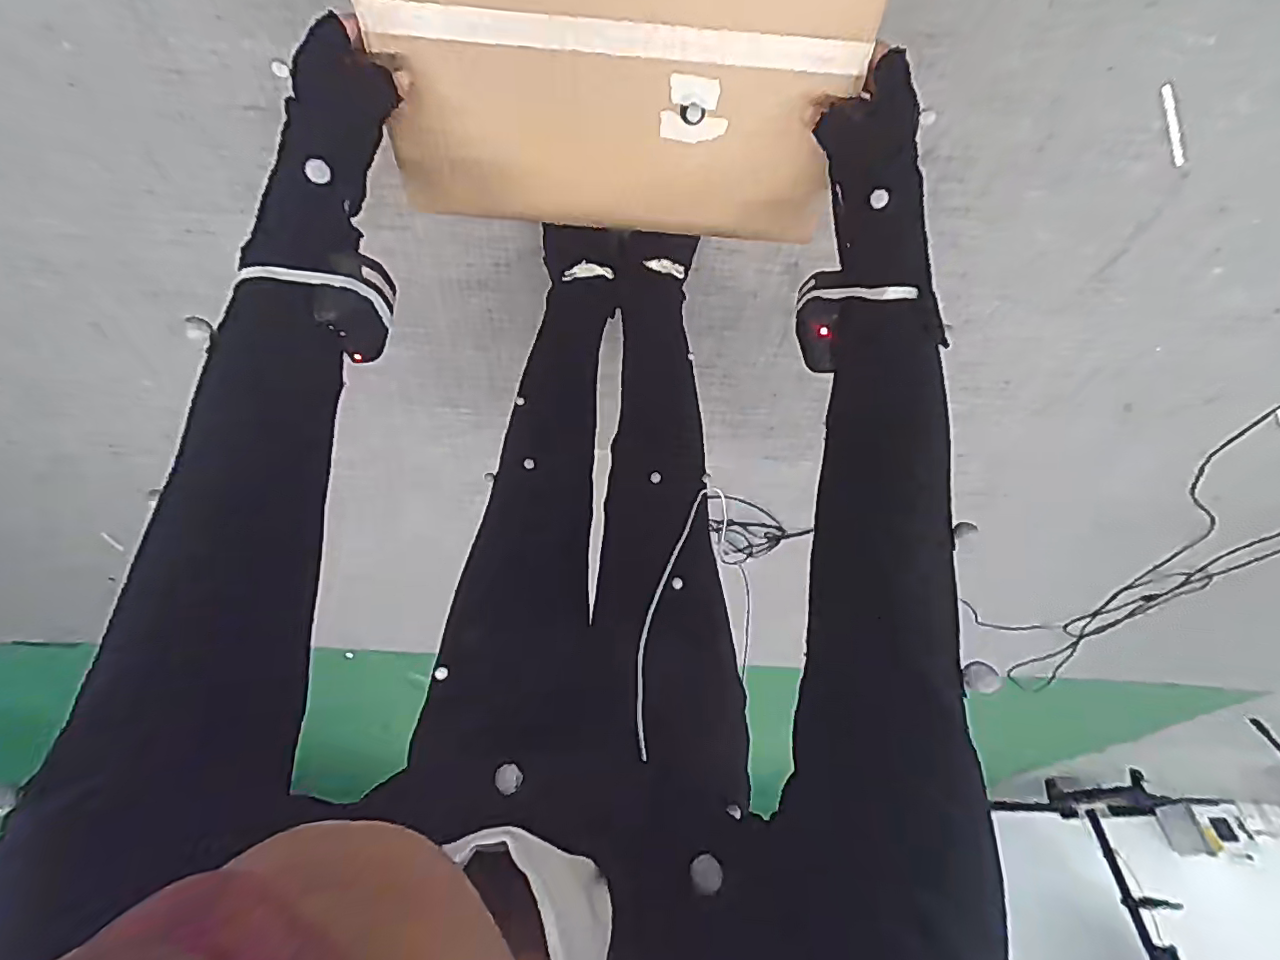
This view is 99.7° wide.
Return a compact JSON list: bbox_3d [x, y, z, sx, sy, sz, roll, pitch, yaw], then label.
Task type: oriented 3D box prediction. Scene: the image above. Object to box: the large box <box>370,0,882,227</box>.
[{"bbox_3d":[-0.012,-0.478,0.520,0.408,0.320,0.320,3,143,-2],"label":"large box"}]
